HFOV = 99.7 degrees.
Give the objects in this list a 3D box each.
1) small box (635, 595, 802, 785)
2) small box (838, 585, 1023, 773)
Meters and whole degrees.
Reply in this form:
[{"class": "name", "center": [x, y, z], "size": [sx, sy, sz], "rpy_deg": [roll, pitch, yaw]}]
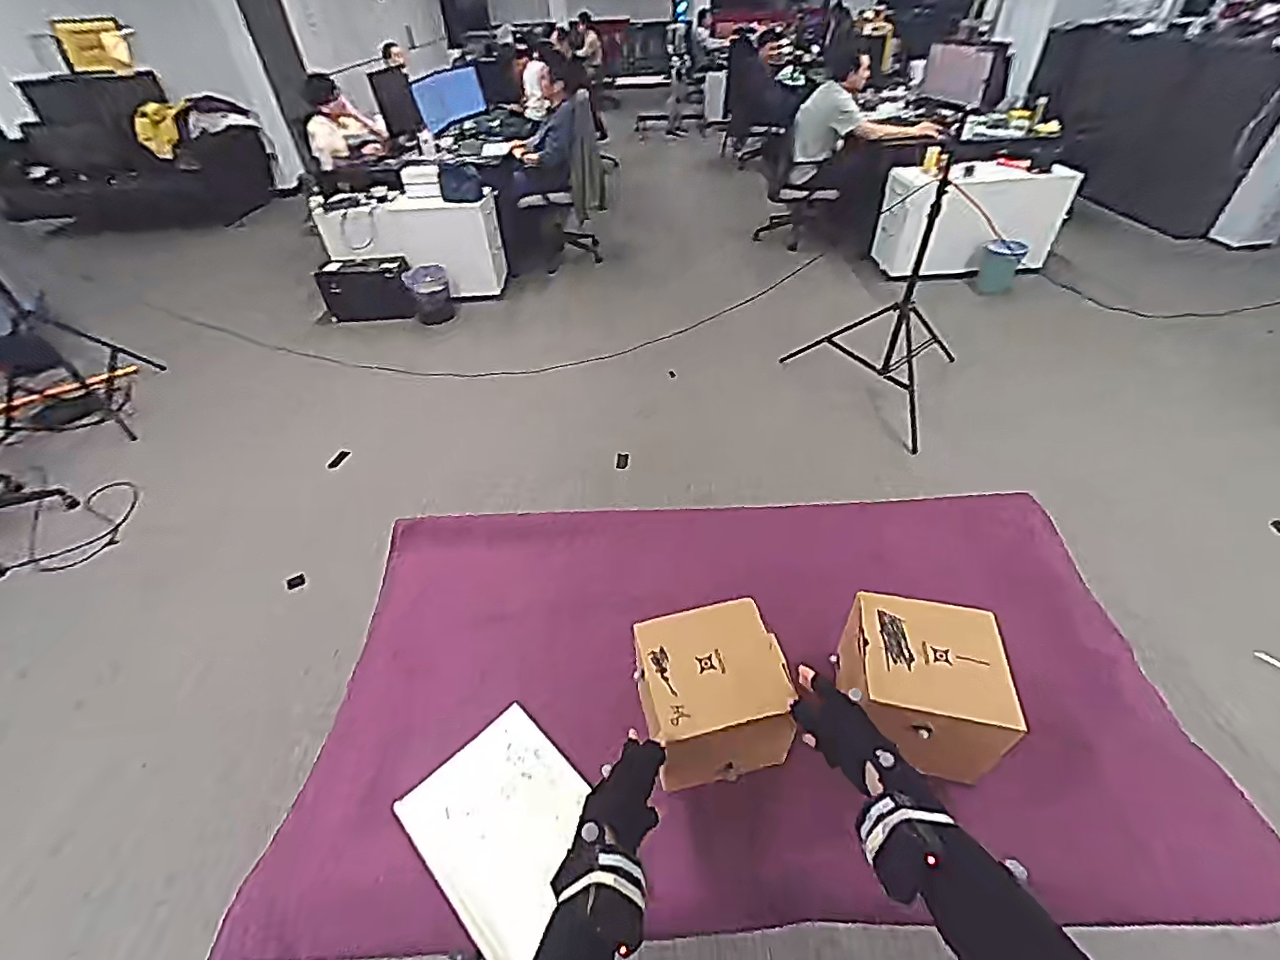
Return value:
[{"class": "small box", "center": [0.095, 0.287, 0.743], "size": [0.179, 0.176, 0.168], "rpy_deg": [-10, 42, -9]}, {"class": "small box", "center": [0.374, 0.272, 0.739], "size": [0.179, 0.176, 0.168], "rpy_deg": [8, 42, 11]}]
